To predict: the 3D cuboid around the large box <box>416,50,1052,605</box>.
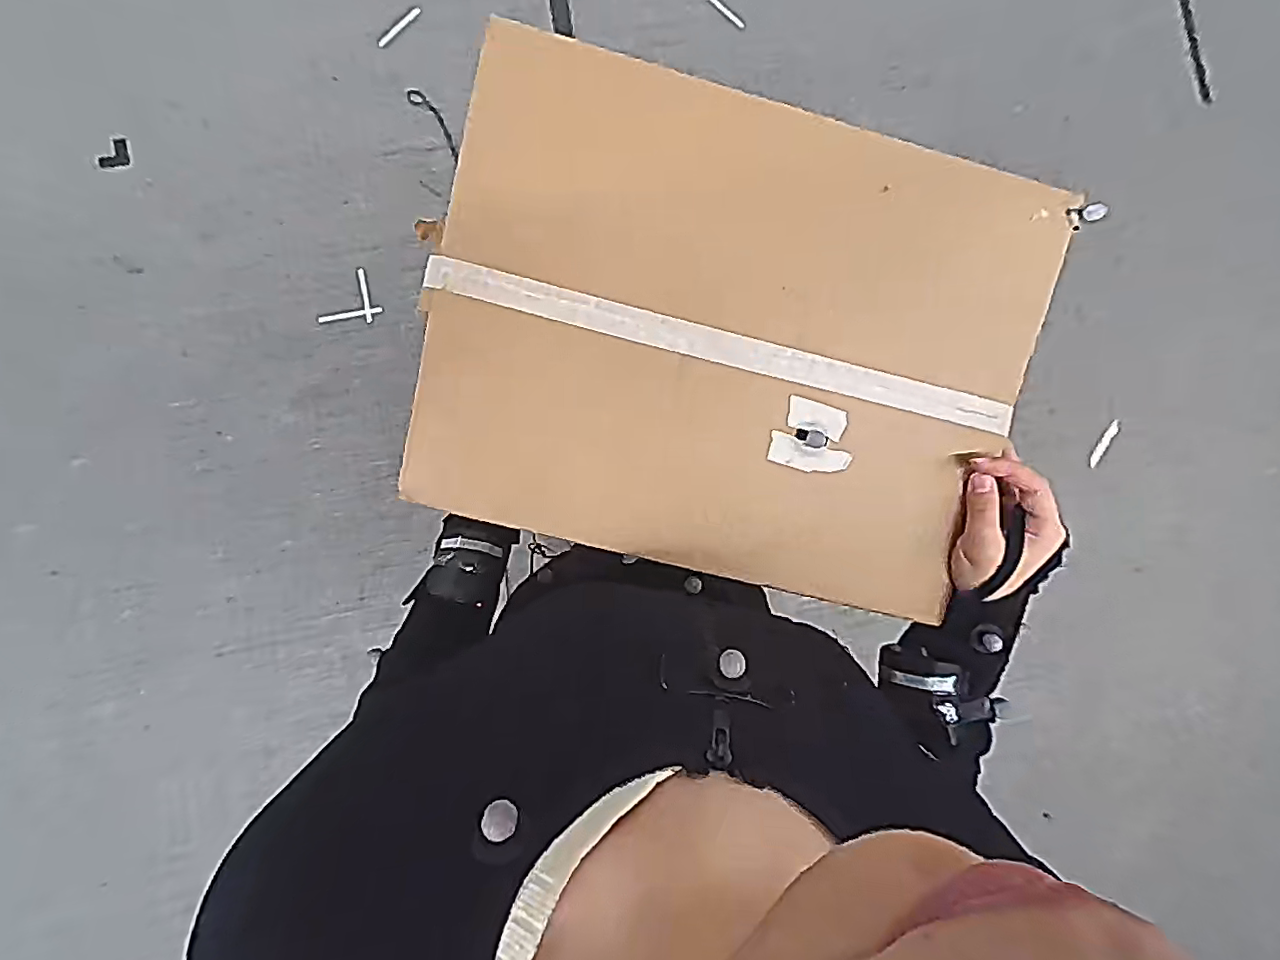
[{"bbox_3d":[0.054,-0.109,0.524,0.408,0.320,0.320,12,98,-5],"label":"large box"}]
